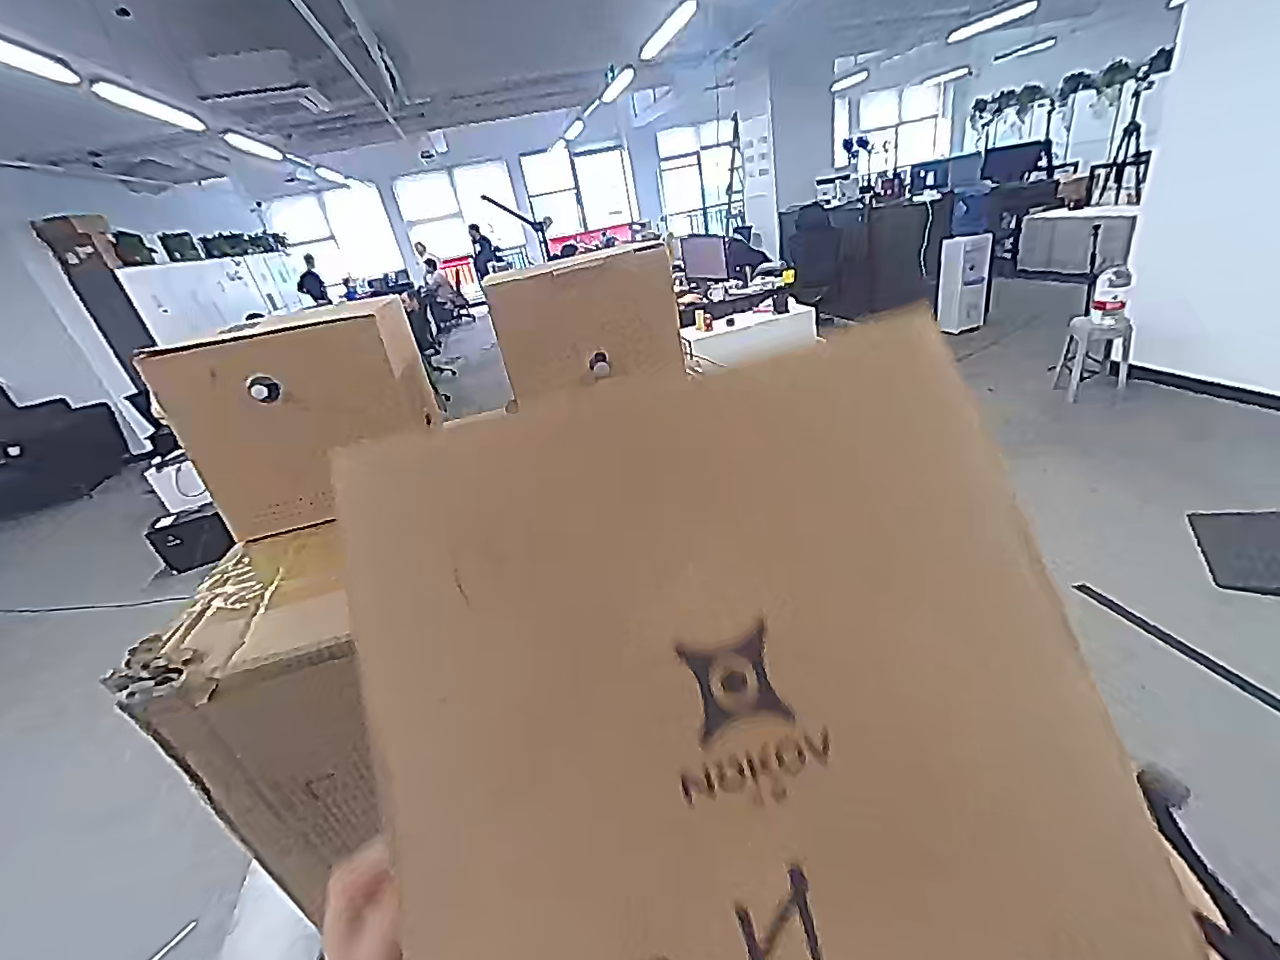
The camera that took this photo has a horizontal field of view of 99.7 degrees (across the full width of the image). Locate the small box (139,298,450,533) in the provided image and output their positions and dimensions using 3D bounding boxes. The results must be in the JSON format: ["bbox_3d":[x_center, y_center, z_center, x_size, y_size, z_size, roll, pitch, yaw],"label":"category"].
[{"bbox_3d":[-0.301,-0.068,0.522,0.179,0.176,0.168,-14,26,-10],"label":"small box"}]

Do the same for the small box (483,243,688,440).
[{"bbox_3d":[-0.056,-0.139,0.568,0.168,0.176,0.179,-16,26,-7],"label":"small box"}]

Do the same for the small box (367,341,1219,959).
[{"bbox_3d":[0.027,0.079,0.205,0.168,0.179,0.176,-15,-12,-3],"label":"small box"}]
